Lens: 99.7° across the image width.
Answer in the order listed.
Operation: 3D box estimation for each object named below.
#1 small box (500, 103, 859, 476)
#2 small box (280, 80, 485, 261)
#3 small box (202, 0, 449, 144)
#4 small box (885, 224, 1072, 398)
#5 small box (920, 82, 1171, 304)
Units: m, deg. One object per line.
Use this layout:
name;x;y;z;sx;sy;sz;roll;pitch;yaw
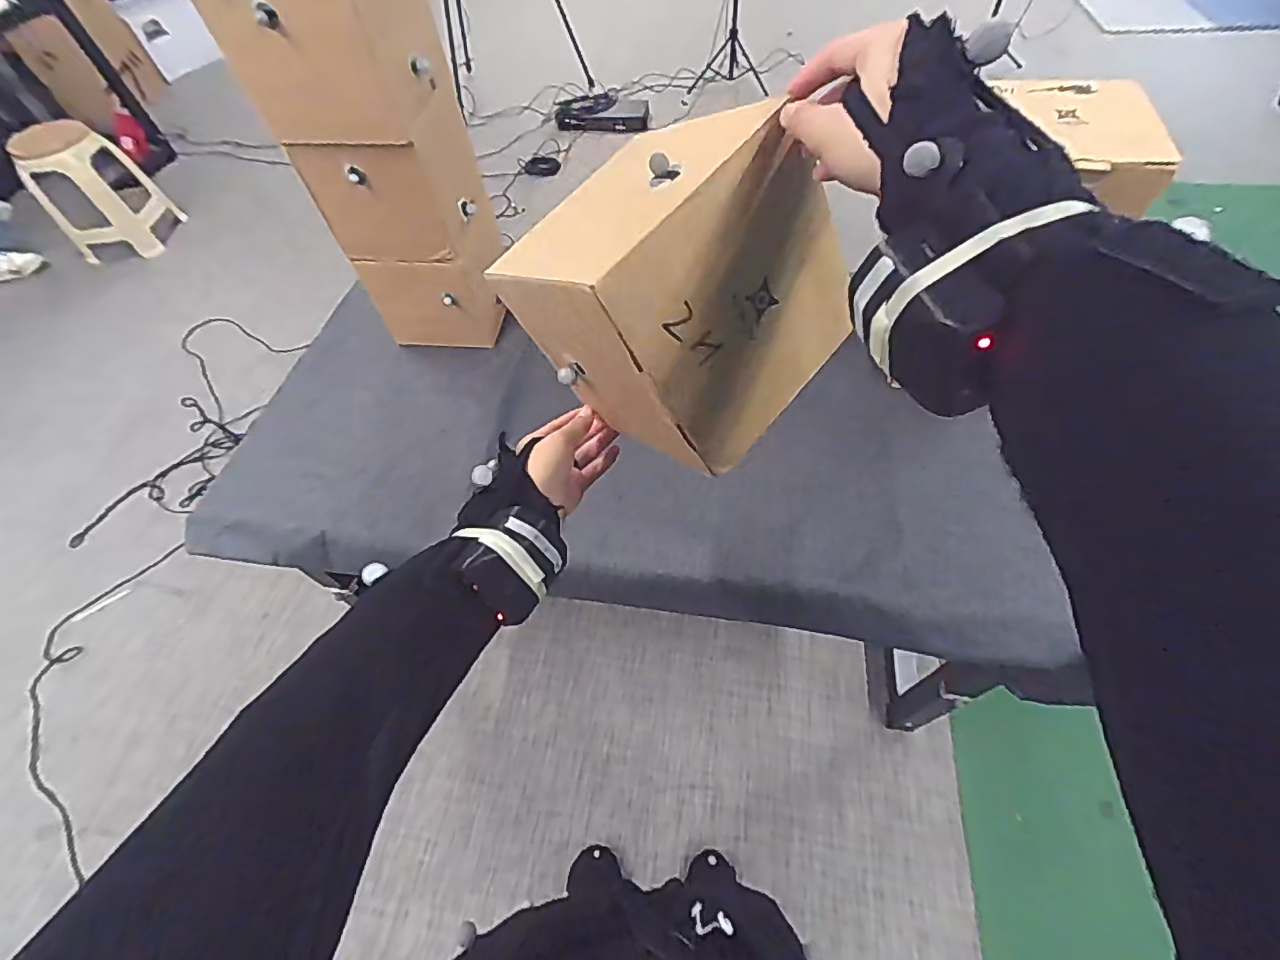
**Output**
small box;0.027;-0.139;0.408;0.179;0.168;0.176;-45;38;-10
small box;-0.341;-0.428;0.757;0.179;0.176;0.168;3;59;5
small box;-0.348;-0.509;0.613;0.179;0.176;0.168;5;59;6
small box;0.460;-0.244;0.769;0.168;0.176;0.179;8;59;10
small box;0.444;-0.329;0.630;0.168;0.176;0.179;8;60;10
